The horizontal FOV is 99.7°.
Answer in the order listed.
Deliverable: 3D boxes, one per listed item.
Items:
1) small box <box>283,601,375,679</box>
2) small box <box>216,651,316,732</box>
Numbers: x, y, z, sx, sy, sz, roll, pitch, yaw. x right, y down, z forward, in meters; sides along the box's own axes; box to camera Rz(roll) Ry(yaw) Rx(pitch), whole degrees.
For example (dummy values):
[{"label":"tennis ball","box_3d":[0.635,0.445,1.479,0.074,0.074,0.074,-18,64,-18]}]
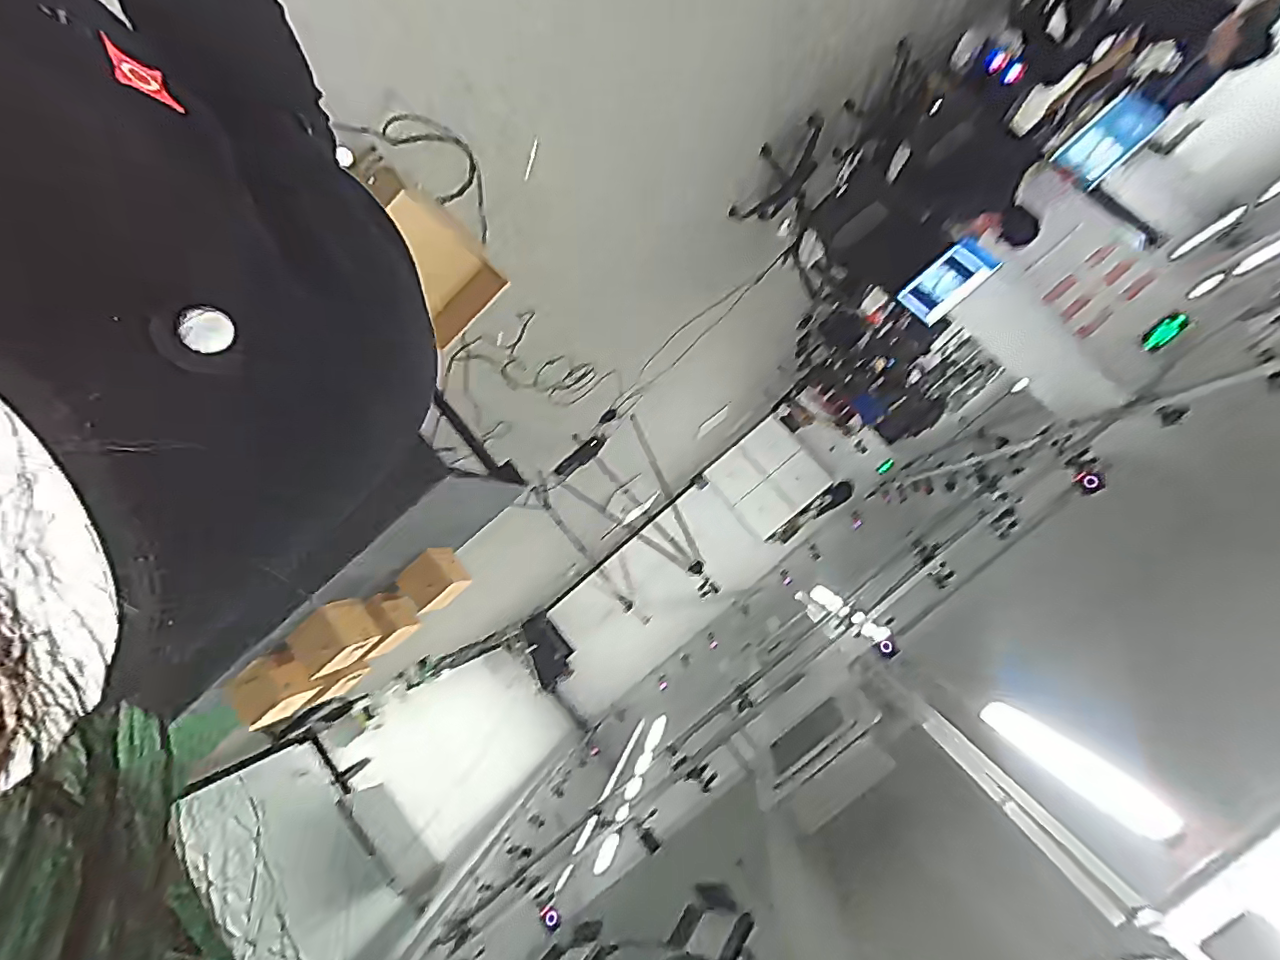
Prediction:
[{"label":"small box","box_3d":[-1.040,0.521,1.803,0.179,0.176,0.168,-41,170,6]},{"label":"small box","box_3d":[-1.240,0.690,1.796,0.168,0.176,0.179,-41,170,0]}]
